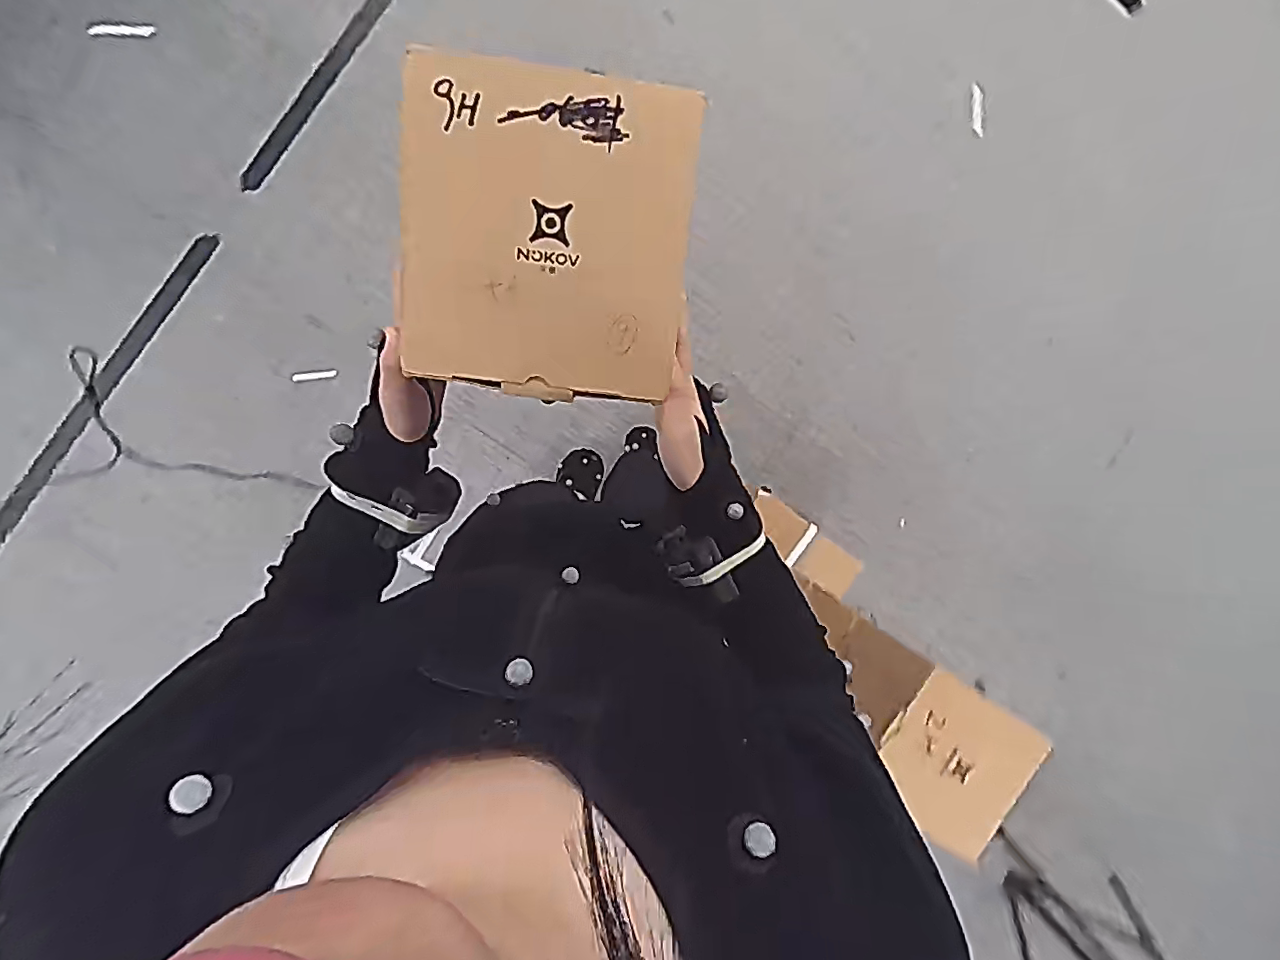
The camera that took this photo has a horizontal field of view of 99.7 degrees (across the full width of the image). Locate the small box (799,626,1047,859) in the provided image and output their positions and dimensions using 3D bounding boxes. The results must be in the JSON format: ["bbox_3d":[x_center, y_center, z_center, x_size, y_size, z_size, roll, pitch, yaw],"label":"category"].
[{"bbox_3d":[0.337,0.311,0.679,0.179,0.176,0.168,33,90,-6],"label":"small box"}]

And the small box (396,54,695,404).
[{"bbox_3d":[-0.062,-0.159,0.393,0.168,0.176,0.179,4,105,-5],"label":"small box"}]

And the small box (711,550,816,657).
[{"bbox_3d":[0.273,0.273,1.165,0.168,0.176,0.179,34,91,-6],"label":"small box"}]

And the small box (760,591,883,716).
[{"bbox_3d":[0.319,0.297,0.843,0.179,0.176,0.168,35,91,-6],"label":"small box"}]
